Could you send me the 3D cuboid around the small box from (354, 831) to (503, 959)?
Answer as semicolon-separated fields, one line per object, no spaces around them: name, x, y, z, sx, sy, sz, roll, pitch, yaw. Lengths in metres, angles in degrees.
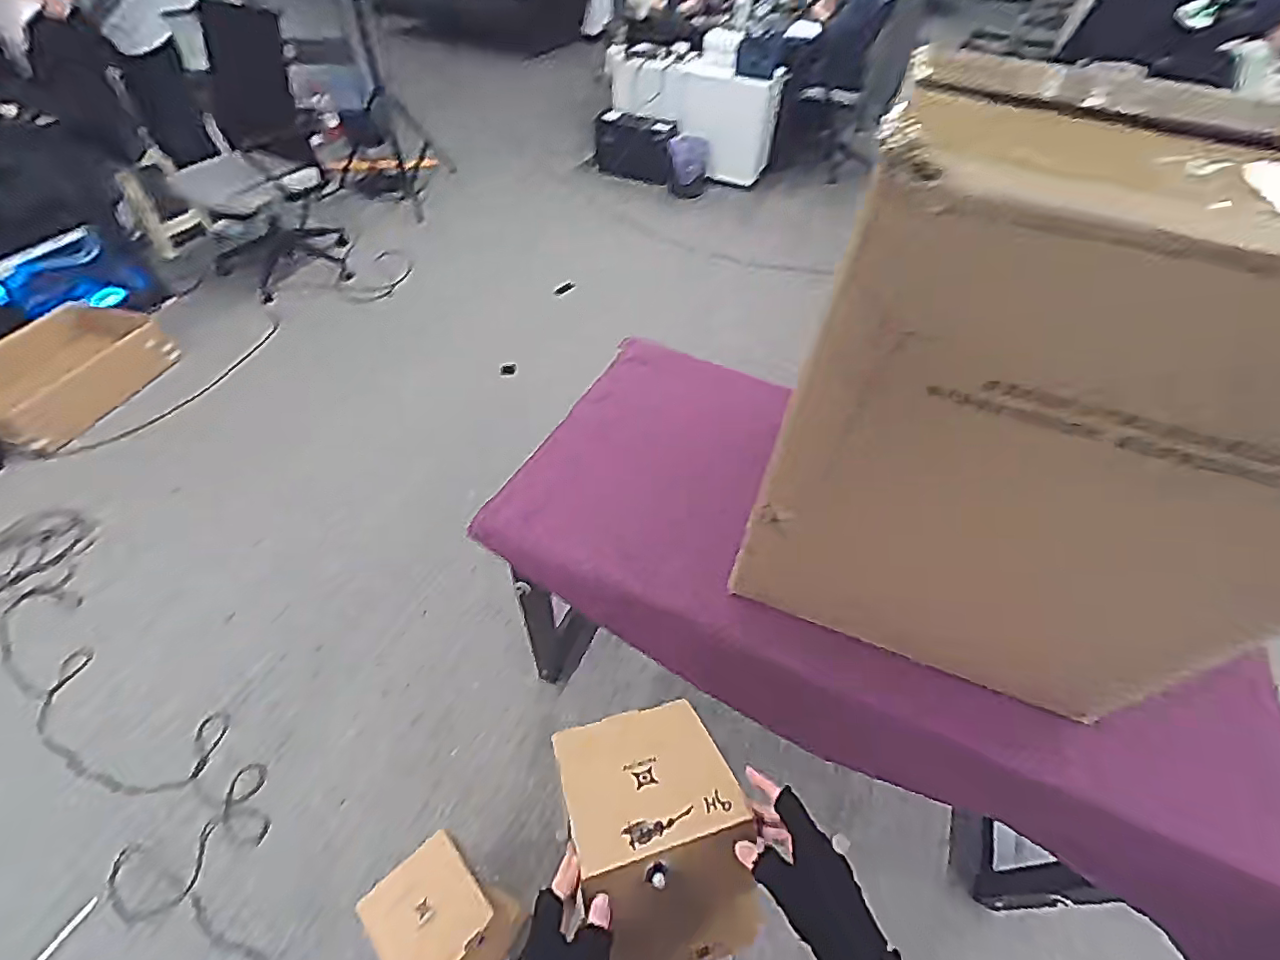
small box;-0.363;0.769;0.956;0.168;0.176;0.179;-35;59;-29

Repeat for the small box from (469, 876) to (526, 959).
small box;-0.346;0.890;1.066;0.179;0.176;0.168;23;52;16

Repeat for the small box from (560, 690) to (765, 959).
small box;0.015;0.358;0.564;0.168;0.176;0.179;-9;17;-15
